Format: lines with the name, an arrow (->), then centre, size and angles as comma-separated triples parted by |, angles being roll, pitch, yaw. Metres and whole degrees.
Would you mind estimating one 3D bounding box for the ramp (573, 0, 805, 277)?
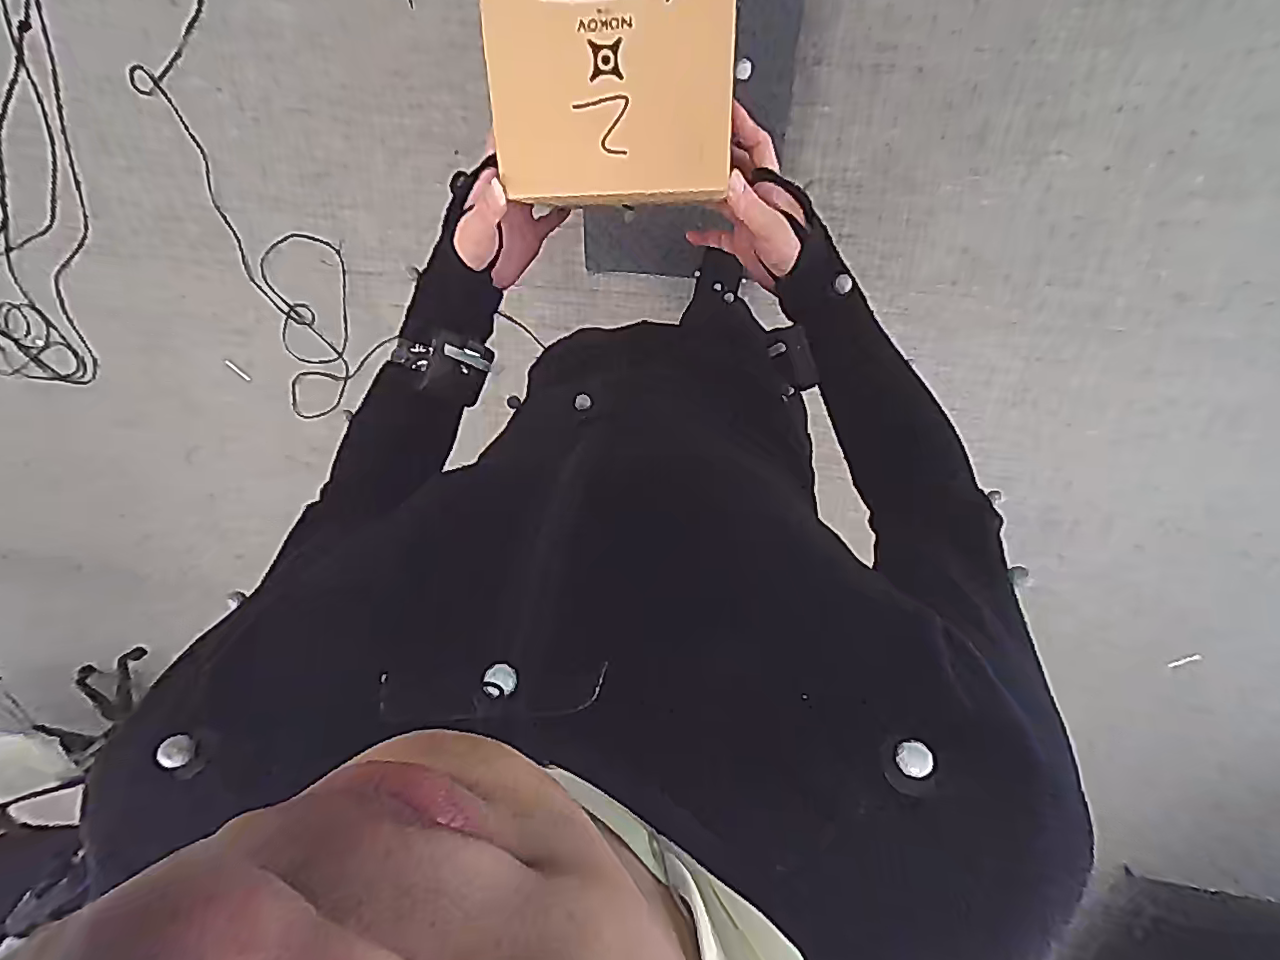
ramp -> 0.099, -0.961, 1.159 | 0.509, 0.206, 0.991 | 4, 115, 7
